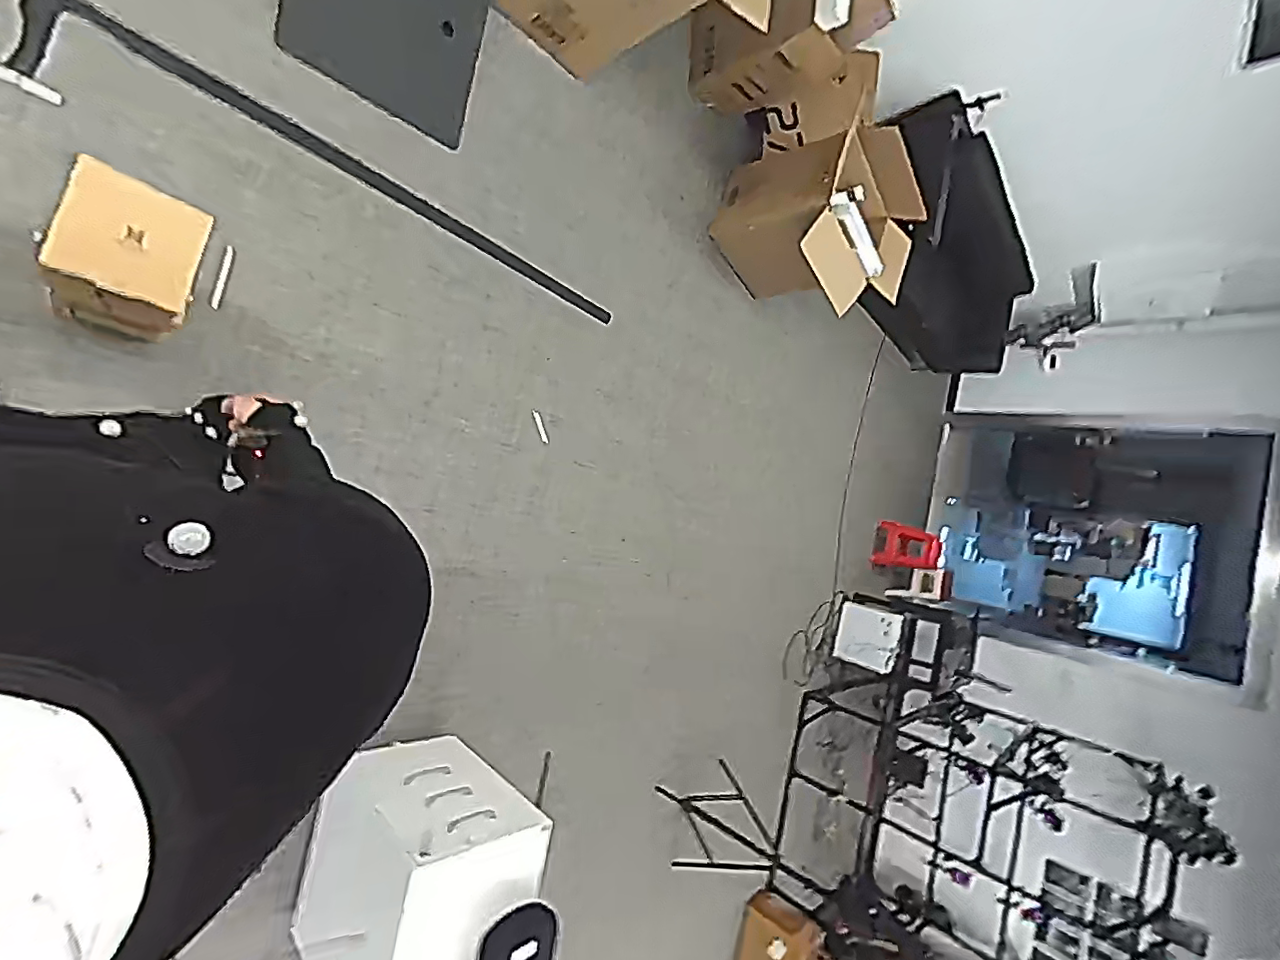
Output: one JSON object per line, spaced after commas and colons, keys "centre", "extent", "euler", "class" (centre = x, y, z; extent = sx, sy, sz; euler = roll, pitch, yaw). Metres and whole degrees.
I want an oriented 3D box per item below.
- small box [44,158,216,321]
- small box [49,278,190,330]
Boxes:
{"centre": [-0.843, -0.381, 0.893], "extent": [0.168, 0.176, 0.179], "euler": [20, 82, -48], "class": "small box"}
{"centre": [-0.957, -0.390, 1.009], "extent": [0.179, 0.176, 0.168], "euler": [17, 83, -48], "class": "small box"}
